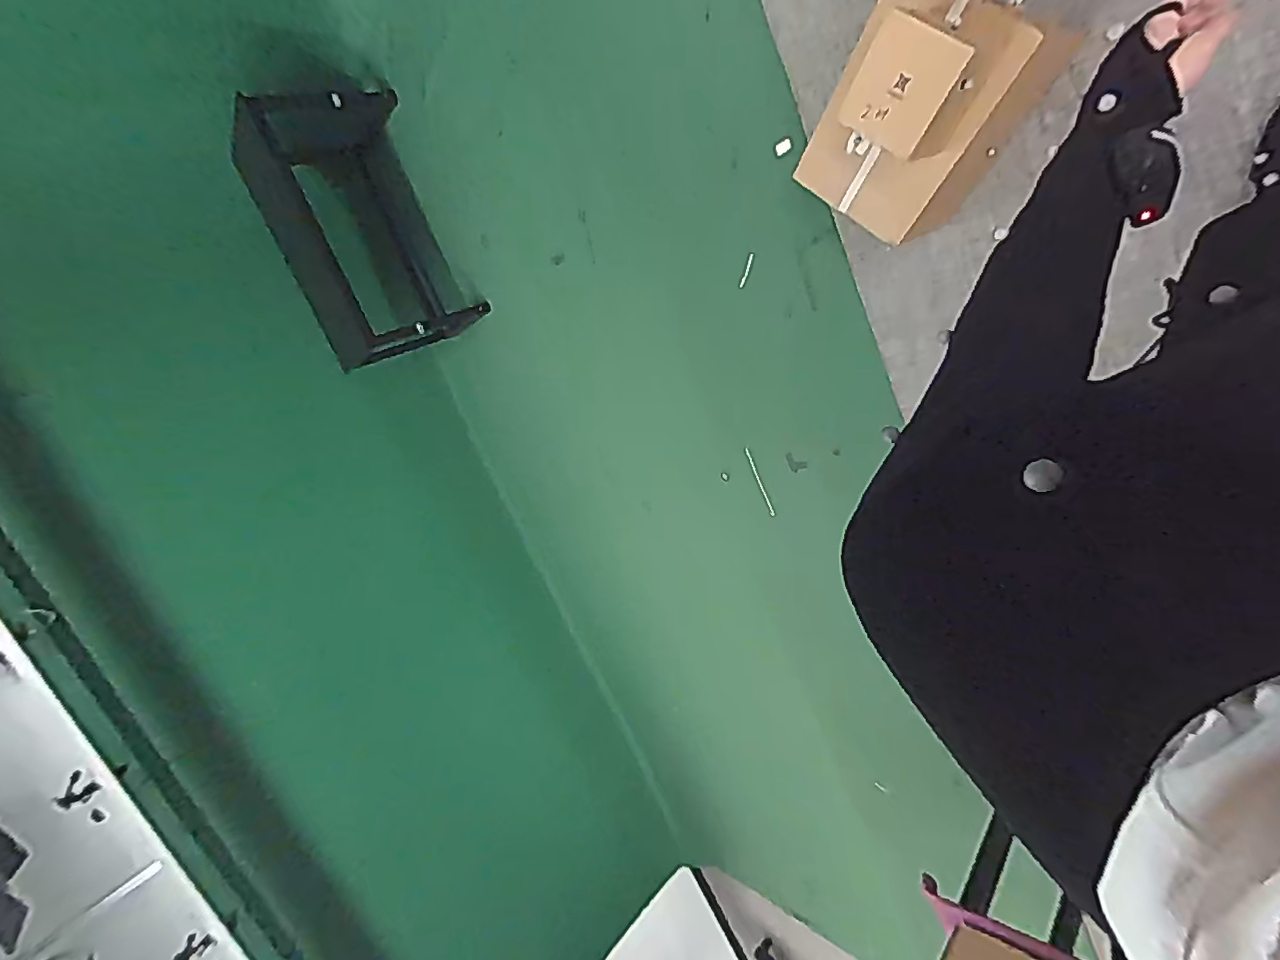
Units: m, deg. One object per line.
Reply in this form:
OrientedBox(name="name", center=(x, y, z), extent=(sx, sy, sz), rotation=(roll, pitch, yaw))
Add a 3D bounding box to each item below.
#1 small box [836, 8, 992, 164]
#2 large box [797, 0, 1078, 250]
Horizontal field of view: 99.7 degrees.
OrientedBox(name="small box", center=(0.500, -0.713, 0.983), extent=(0.168, 0.176, 0.179), rotation=(45, 143, 16))
OrientedBox(name="large box", center=(0.631, -0.800, 1.190), extent=(0.320, 0.320, 0.408), rotation=(47, 144, 17))
